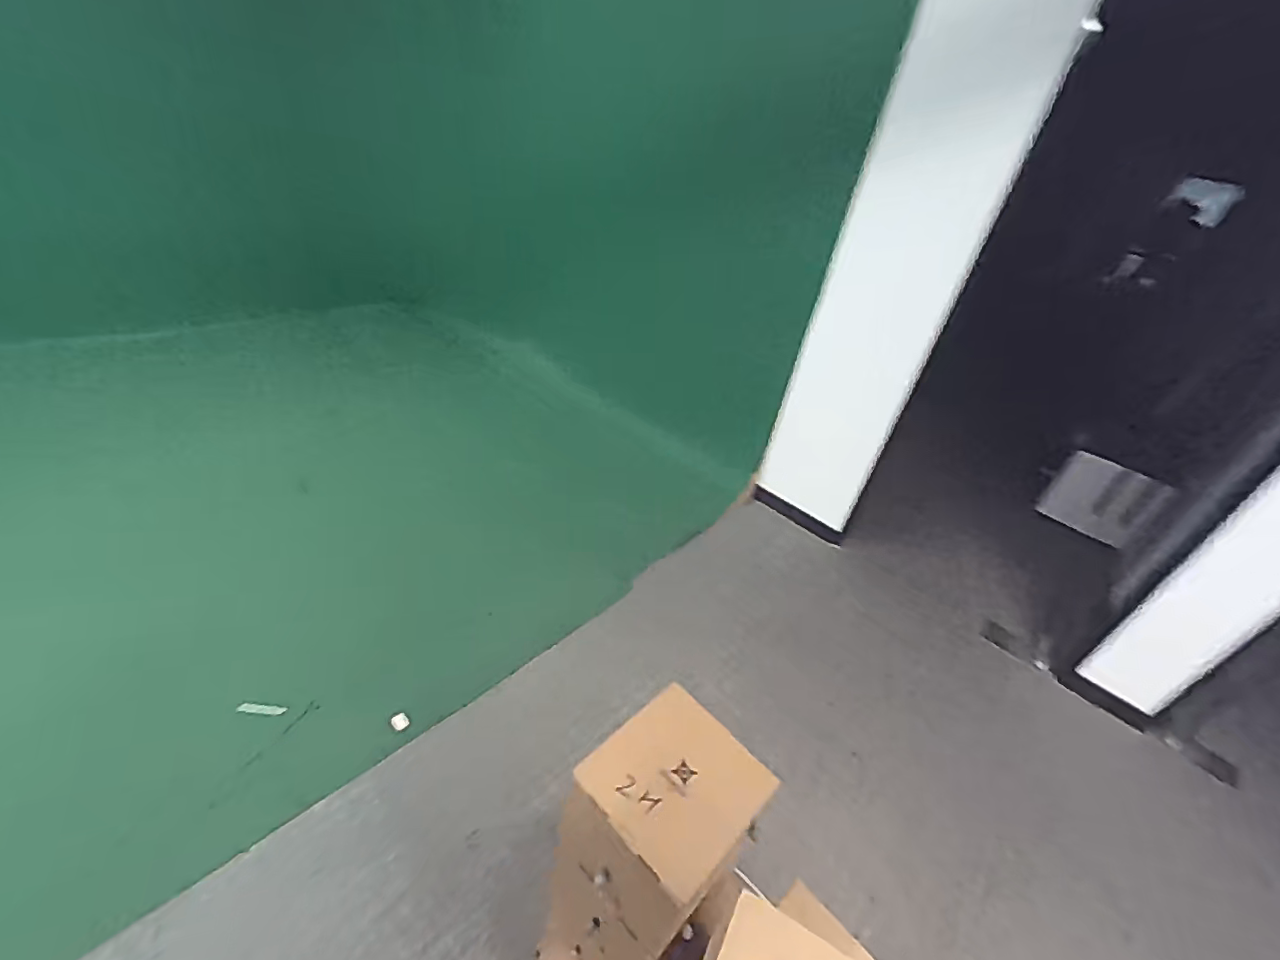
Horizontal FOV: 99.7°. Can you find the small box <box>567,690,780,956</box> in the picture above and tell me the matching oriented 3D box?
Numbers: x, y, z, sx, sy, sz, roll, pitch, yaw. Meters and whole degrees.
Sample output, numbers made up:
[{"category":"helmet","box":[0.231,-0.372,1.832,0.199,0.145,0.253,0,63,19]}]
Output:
[{"category":"small box","box":[0.030,0.398,0.640,0.179,0.176,0.168,-25,49,-39]}]

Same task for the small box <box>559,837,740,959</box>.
[{"category":"small box","box":[0.005,0.532,0.733,0.179,0.176,0.168,-25,50,-38]}]

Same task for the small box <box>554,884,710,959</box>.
[{"category":"small box","box":[-0.016,0.661,0.832,0.168,0.176,0.179,36,43,30]}]

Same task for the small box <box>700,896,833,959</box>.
[{"category":"small box","box":[0.085,0.403,0.314,0.168,0.176,0.179,22,44,20]}]
